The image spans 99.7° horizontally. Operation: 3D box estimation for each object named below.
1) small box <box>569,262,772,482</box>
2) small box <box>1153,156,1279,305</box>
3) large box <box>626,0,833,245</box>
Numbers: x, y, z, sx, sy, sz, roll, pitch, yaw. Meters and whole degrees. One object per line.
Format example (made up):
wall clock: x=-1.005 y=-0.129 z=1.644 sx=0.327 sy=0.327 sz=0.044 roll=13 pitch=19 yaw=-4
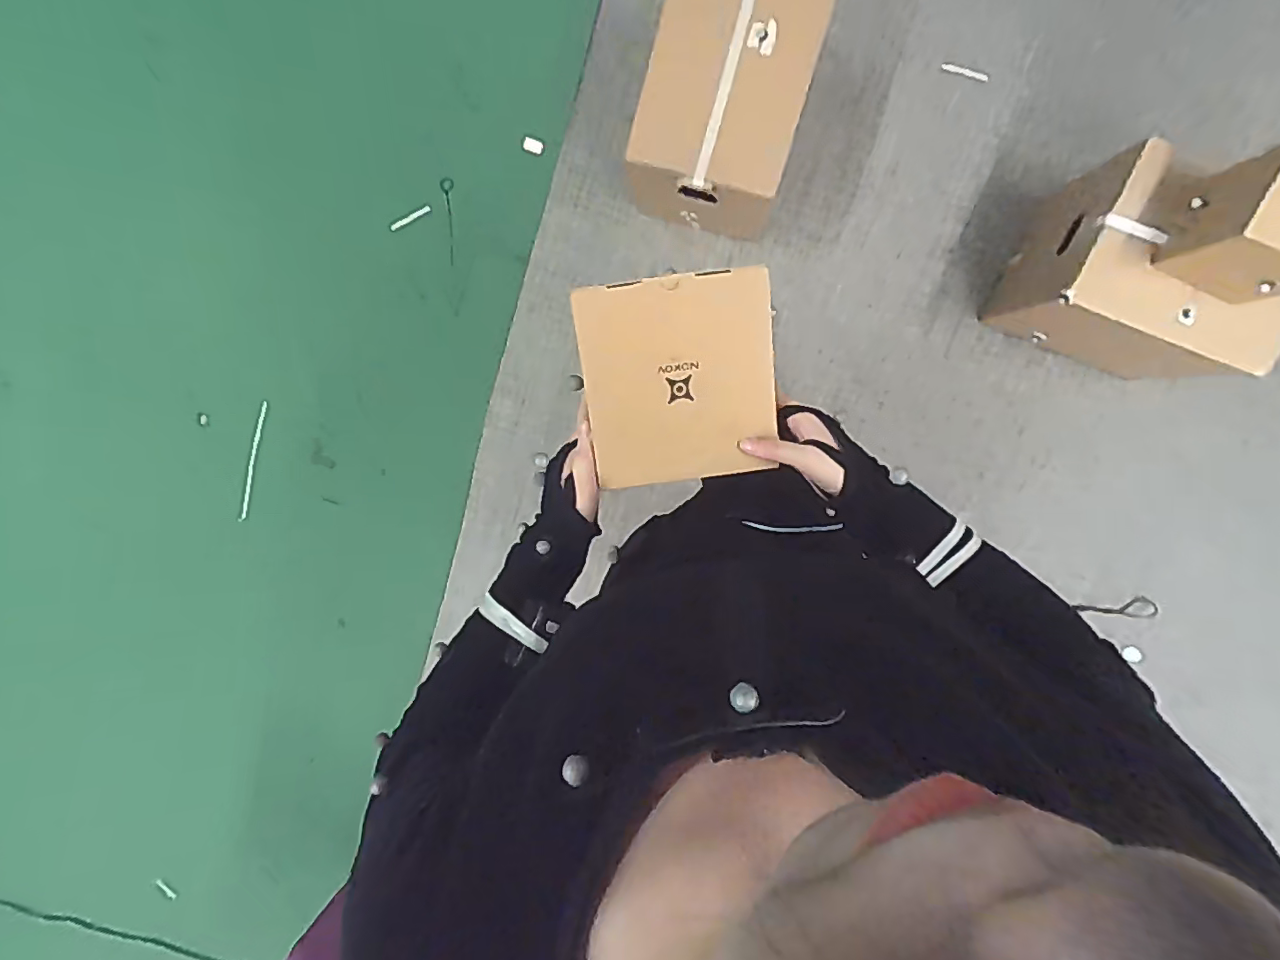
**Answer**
small box: x=0.029 y=-0.112 z=0.544 sx=0.168 sy=0.176 sz=0.179 roll=-7 pitch=107 yaw=0
small box: x=1.046 y=-0.412 z=0.906 sx=0.179 sy=0.176 sz=0.168 roll=27 pitch=97 yaw=2
large box: x=0.185 y=-0.794 z=1.189 sx=0.320 sy=0.320 sz=0.408 roll=17 pitch=99 yaw=4
